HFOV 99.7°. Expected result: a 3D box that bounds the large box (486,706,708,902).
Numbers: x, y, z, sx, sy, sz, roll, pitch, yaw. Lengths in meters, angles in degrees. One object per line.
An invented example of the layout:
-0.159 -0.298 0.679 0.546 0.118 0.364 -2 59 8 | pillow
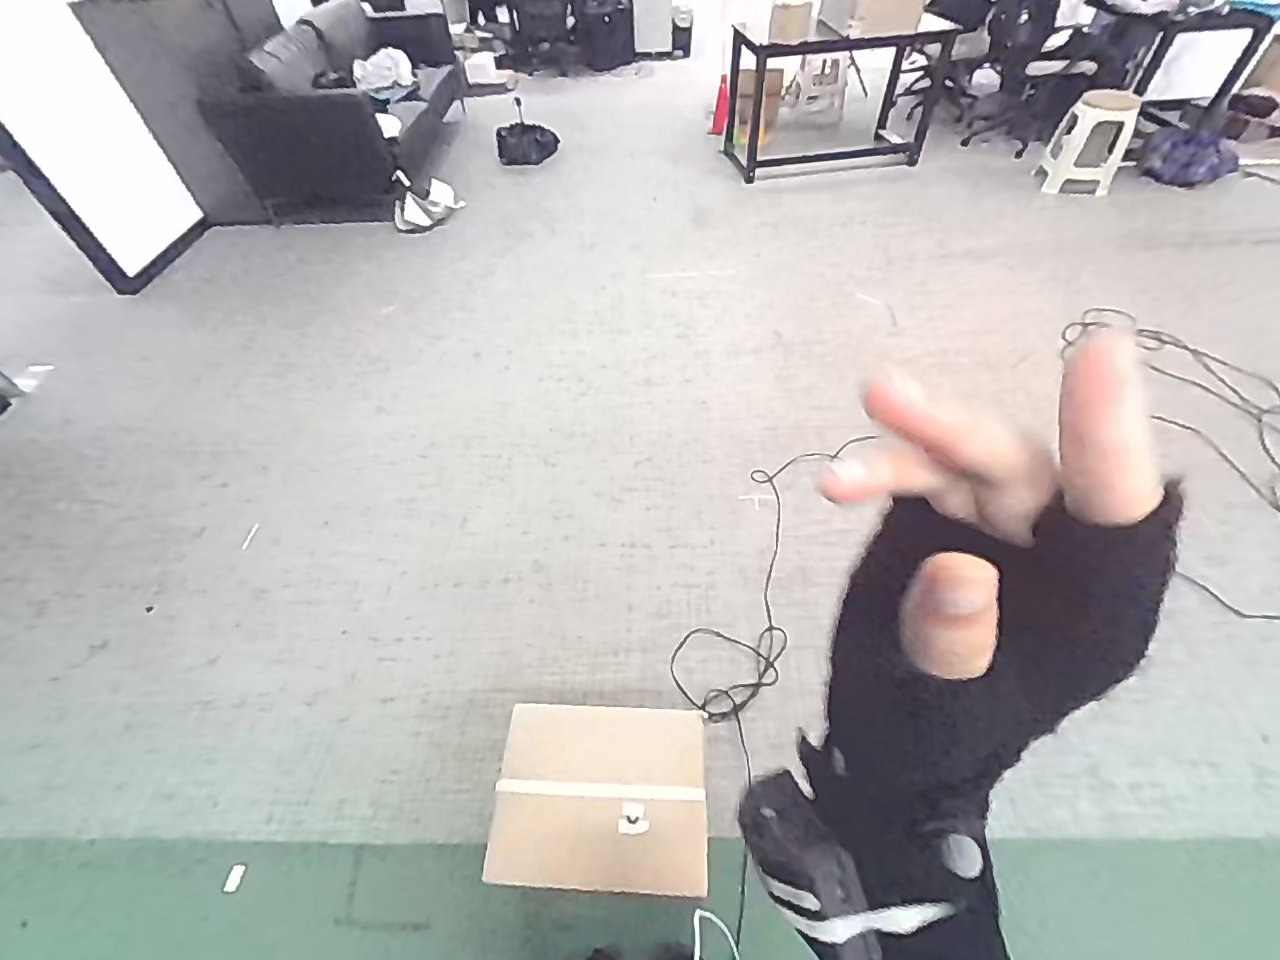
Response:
-0.071 0.699 1.163 0.408 0.320 0.320 1 51 3 | large box
